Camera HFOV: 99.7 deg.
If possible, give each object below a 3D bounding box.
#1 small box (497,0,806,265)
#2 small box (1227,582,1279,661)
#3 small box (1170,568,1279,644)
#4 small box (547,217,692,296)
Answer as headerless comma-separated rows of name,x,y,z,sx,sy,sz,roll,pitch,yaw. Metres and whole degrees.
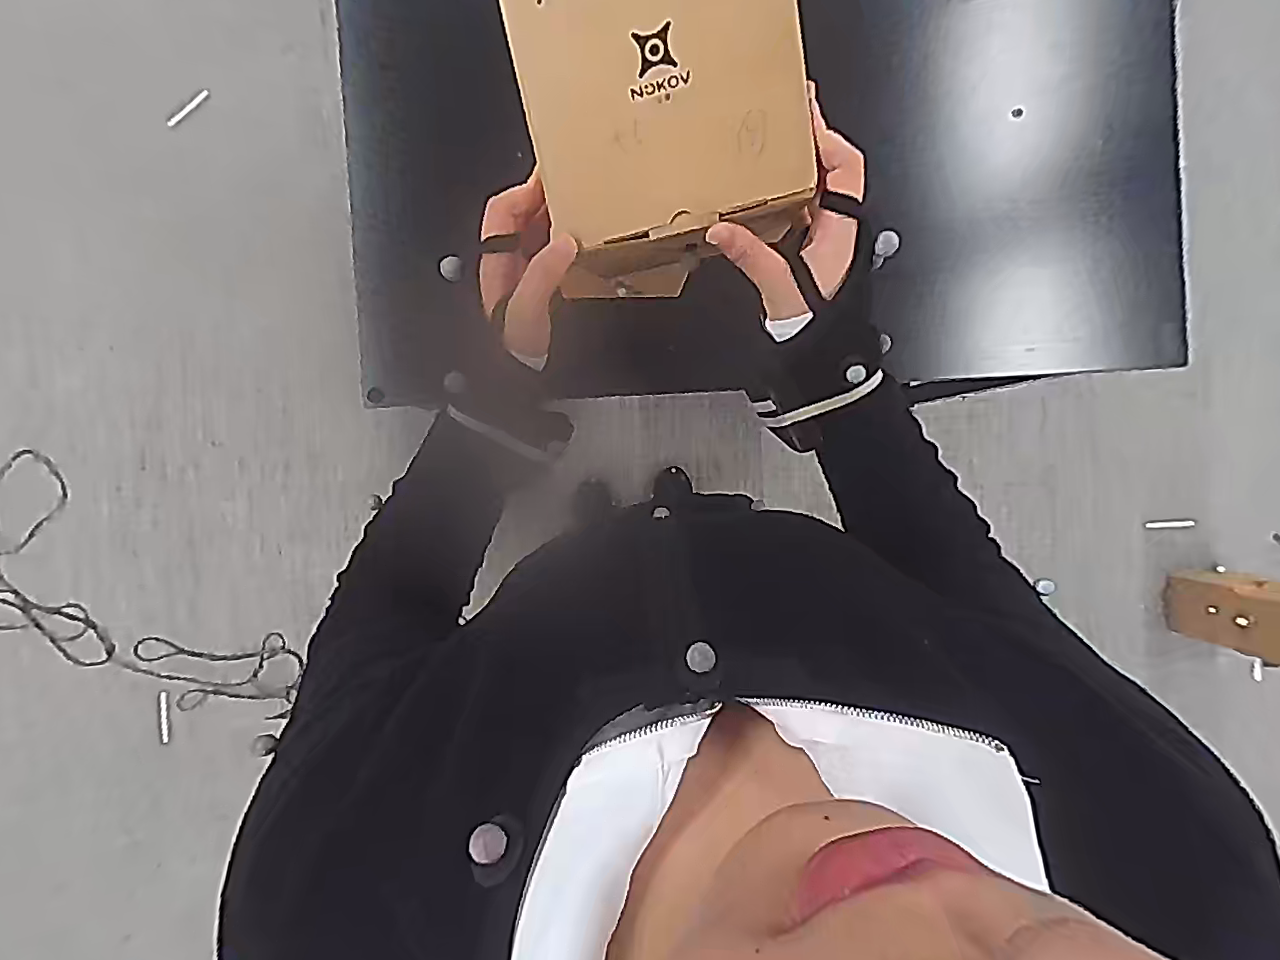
small box,0.017,-0.264,0.394,0.168,0.176,0.179,-10,105,10
small box,1.645,0.355,1.350,0.179,0.176,0.168,-7,90,-1
small box,1.640,0.347,1.512,0.168,0.176,0.179,-5,92,-2
small box,-0.028,-0.347,0.682,0.168,0.176,0.179,-2,91,-2
